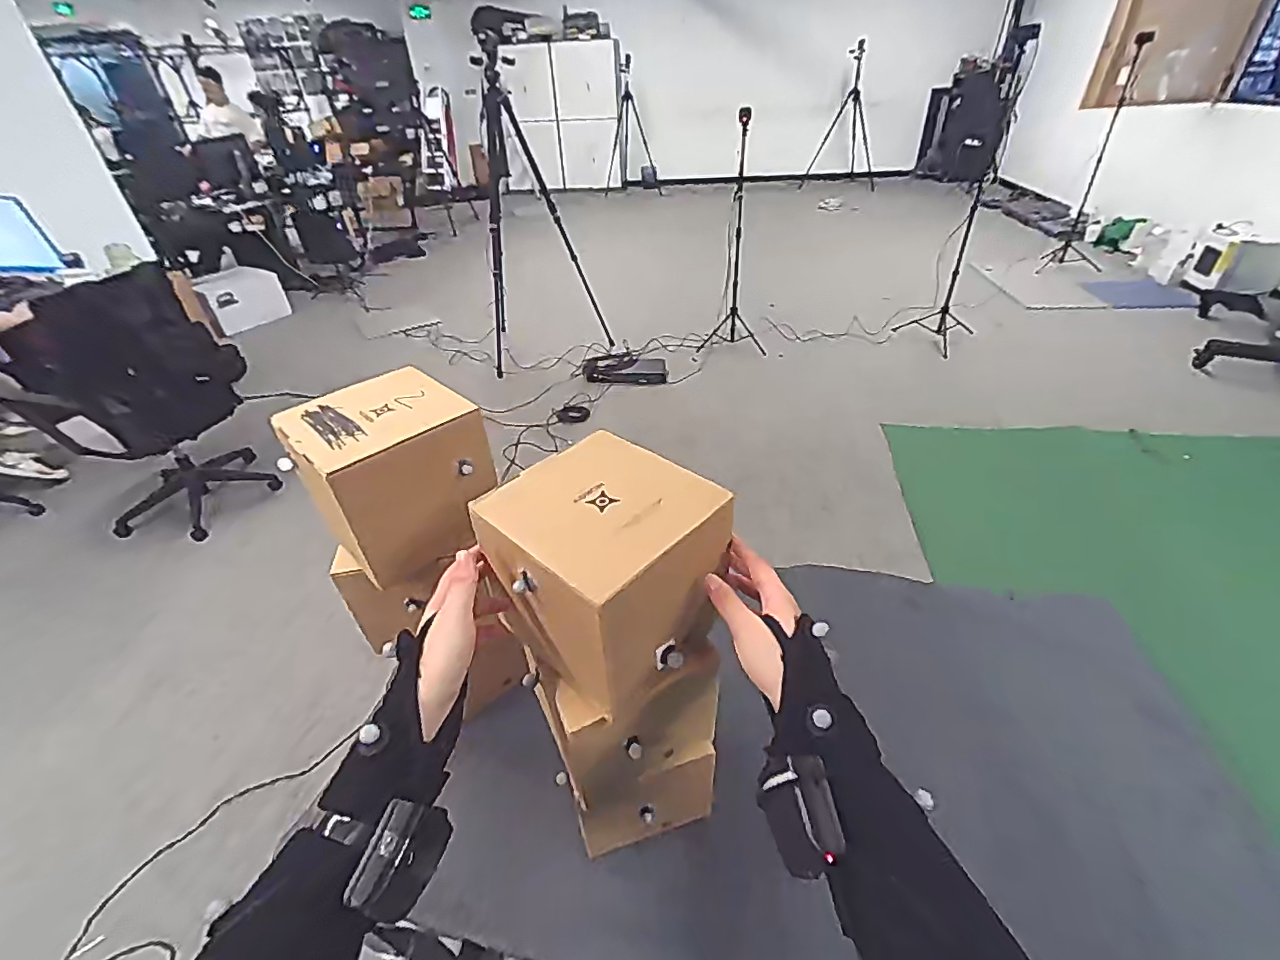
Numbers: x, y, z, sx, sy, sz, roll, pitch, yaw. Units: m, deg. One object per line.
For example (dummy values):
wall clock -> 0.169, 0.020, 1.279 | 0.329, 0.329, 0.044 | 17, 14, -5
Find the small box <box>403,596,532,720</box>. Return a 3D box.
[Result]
small box -> -0.287, 0.242, 0.869 | 0.168, 0.176, 0.179 | -30, 45, -30

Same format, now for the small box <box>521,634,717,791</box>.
small box -> -0.027, 0.215, 0.612 | 0.168, 0.176, 0.179 | -20, 40, -20

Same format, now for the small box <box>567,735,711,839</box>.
small box -> -0.014, 0.341, 0.715 | 0.168, 0.176, 0.179 | -12, 38, -12

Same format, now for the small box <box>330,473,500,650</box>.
small box -> -0.296, 0.114, 0.765 | 0.179, 0.176, 0.168 | -9, 39, -6

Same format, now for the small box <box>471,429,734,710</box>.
small box -> -0.032, 0.080, 0.521 | 0.179, 0.176, 0.168 | 28, 48, 34
